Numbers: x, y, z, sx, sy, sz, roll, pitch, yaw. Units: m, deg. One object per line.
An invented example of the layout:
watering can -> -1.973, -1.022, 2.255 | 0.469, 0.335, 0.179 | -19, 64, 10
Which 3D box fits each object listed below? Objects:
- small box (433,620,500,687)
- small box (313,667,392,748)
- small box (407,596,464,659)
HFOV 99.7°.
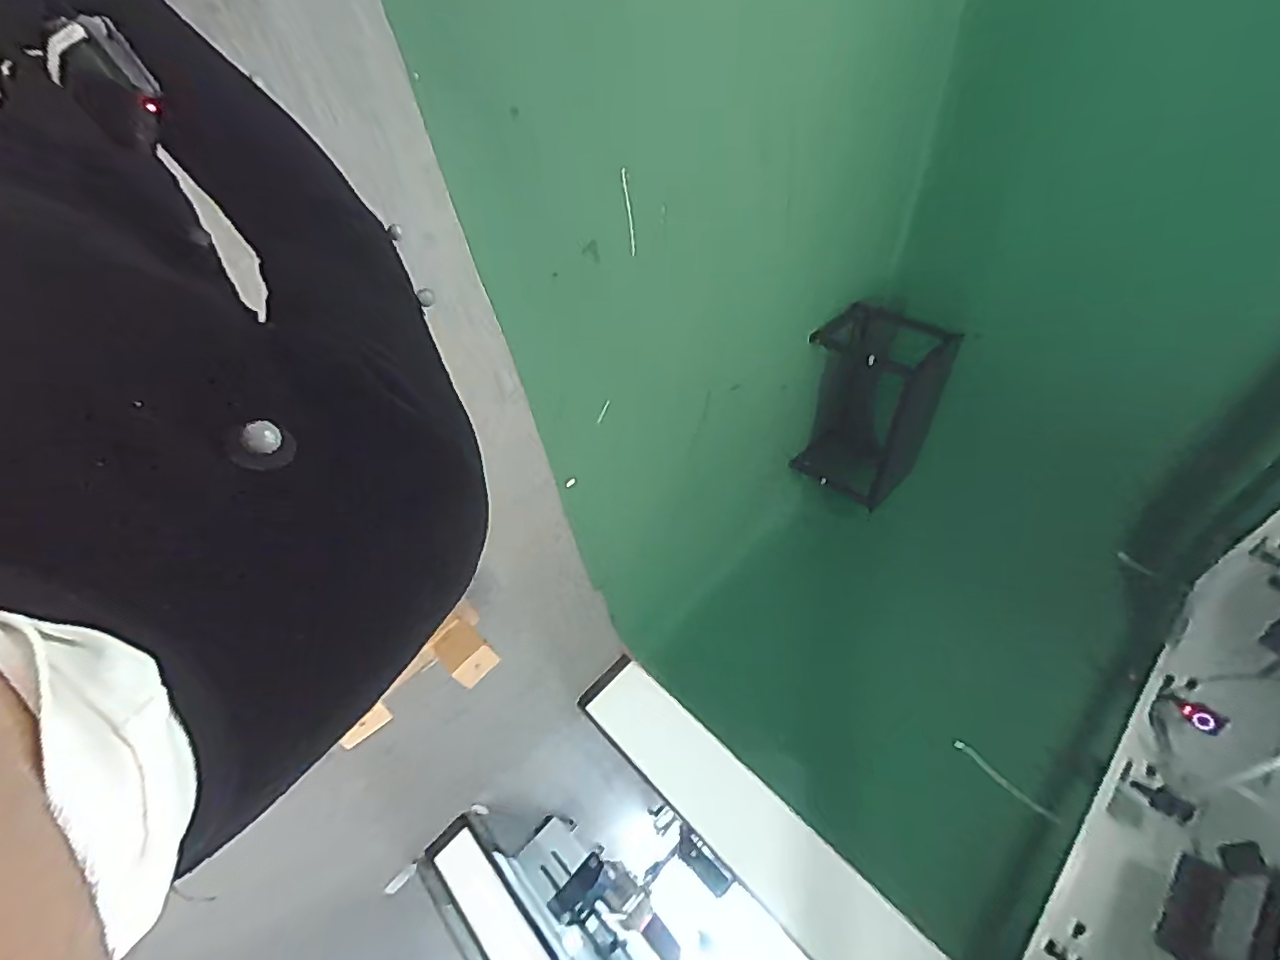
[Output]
small box -> -0.705, 0.698, 2.194 | 0.168, 0.176, 0.179 | -41, 145, -19
small box -> -1.007, 0.784, 1.889 | 0.168, 0.176, 0.179 | -32, 142, -31
small box -> -0.834, 0.620, 2.266 | 0.168, 0.176, 0.179 | -42, 145, -19
